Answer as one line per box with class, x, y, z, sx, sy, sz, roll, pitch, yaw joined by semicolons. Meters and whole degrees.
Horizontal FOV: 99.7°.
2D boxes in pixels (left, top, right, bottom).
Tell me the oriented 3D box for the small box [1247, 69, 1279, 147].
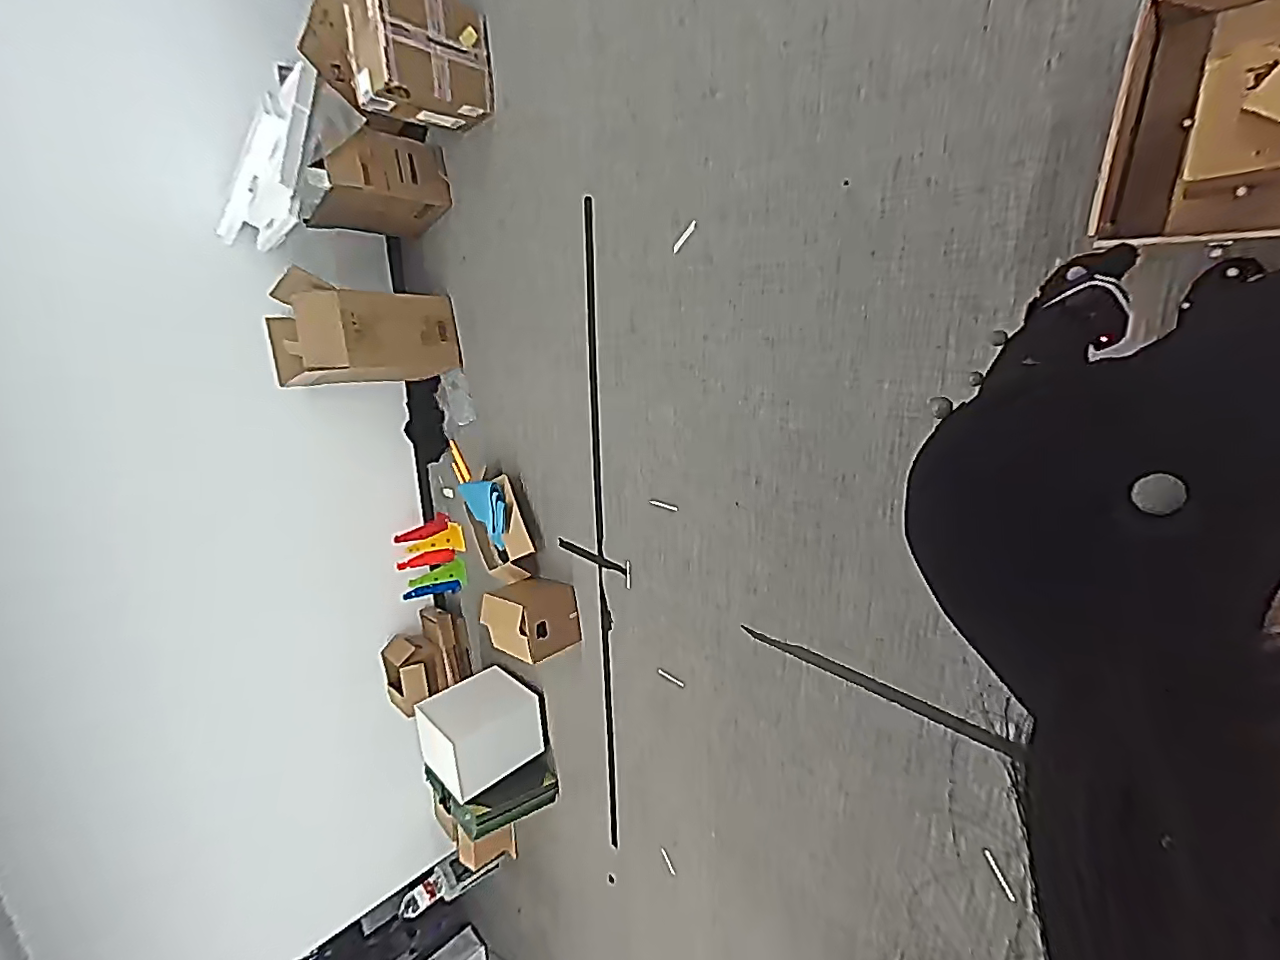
small box;0.953;-0.519;0.692;0.179;0.176;0.168;50;130;27
